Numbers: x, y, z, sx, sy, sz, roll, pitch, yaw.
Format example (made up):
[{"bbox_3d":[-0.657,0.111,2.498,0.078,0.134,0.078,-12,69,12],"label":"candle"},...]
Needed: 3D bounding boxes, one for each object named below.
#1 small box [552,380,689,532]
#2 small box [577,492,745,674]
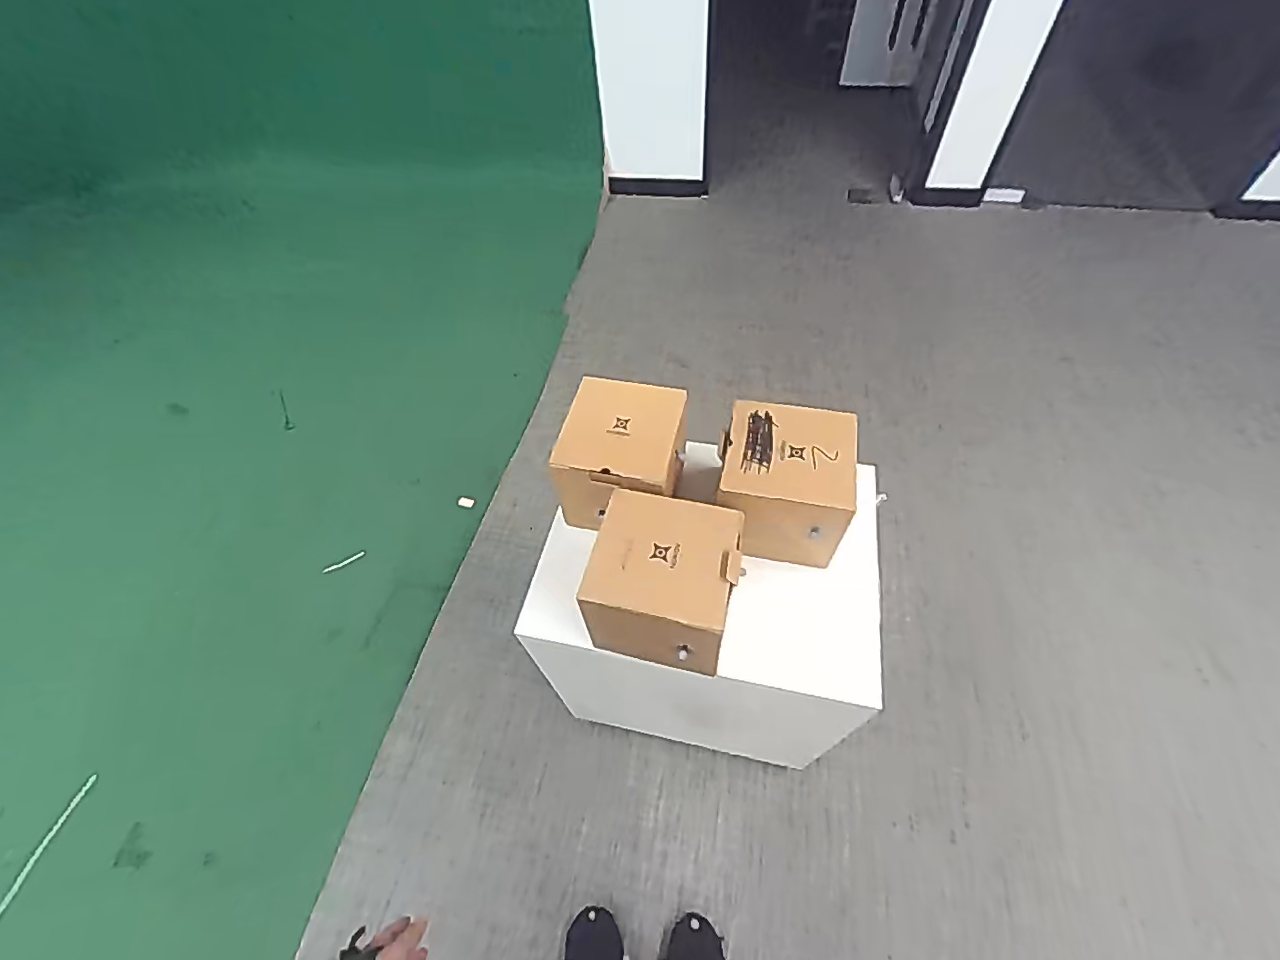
[{"bbox_3d":[-0.023,-0.027,0.842,0.168,0.176,0.179,10,56,9],"label":"small box"},{"bbox_3d":[0.035,0.141,0.717,0.179,0.176,0.168,9,53,12],"label":"small box"}]
